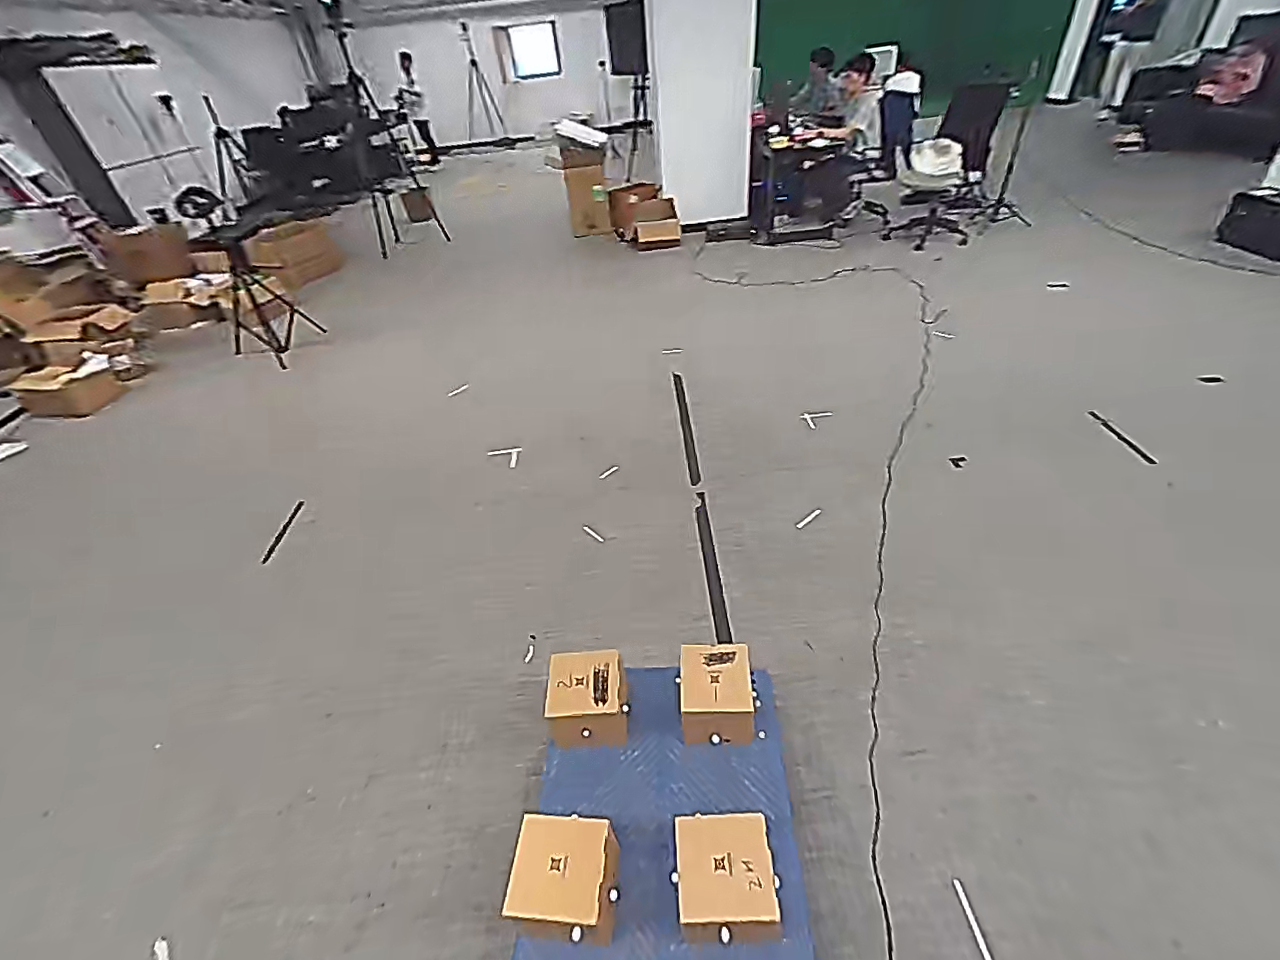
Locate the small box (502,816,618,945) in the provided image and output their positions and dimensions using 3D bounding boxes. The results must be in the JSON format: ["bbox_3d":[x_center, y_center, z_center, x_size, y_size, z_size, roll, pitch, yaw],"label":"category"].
[{"bbox_3d":[-0.147,0.786,1.061,0.179,0.176,0.168,-1,40,7],"label":"small box"}]

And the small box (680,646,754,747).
[{"bbox_3d":[0.184,0.528,1.323,0.168,0.176,0.179,-3,40,6],"label":"small box"}]

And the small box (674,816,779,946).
[{"bbox_3d":[0.161,0.768,1.034,0.179,0.176,0.168,-5,39,3],"label":"small box"}]
